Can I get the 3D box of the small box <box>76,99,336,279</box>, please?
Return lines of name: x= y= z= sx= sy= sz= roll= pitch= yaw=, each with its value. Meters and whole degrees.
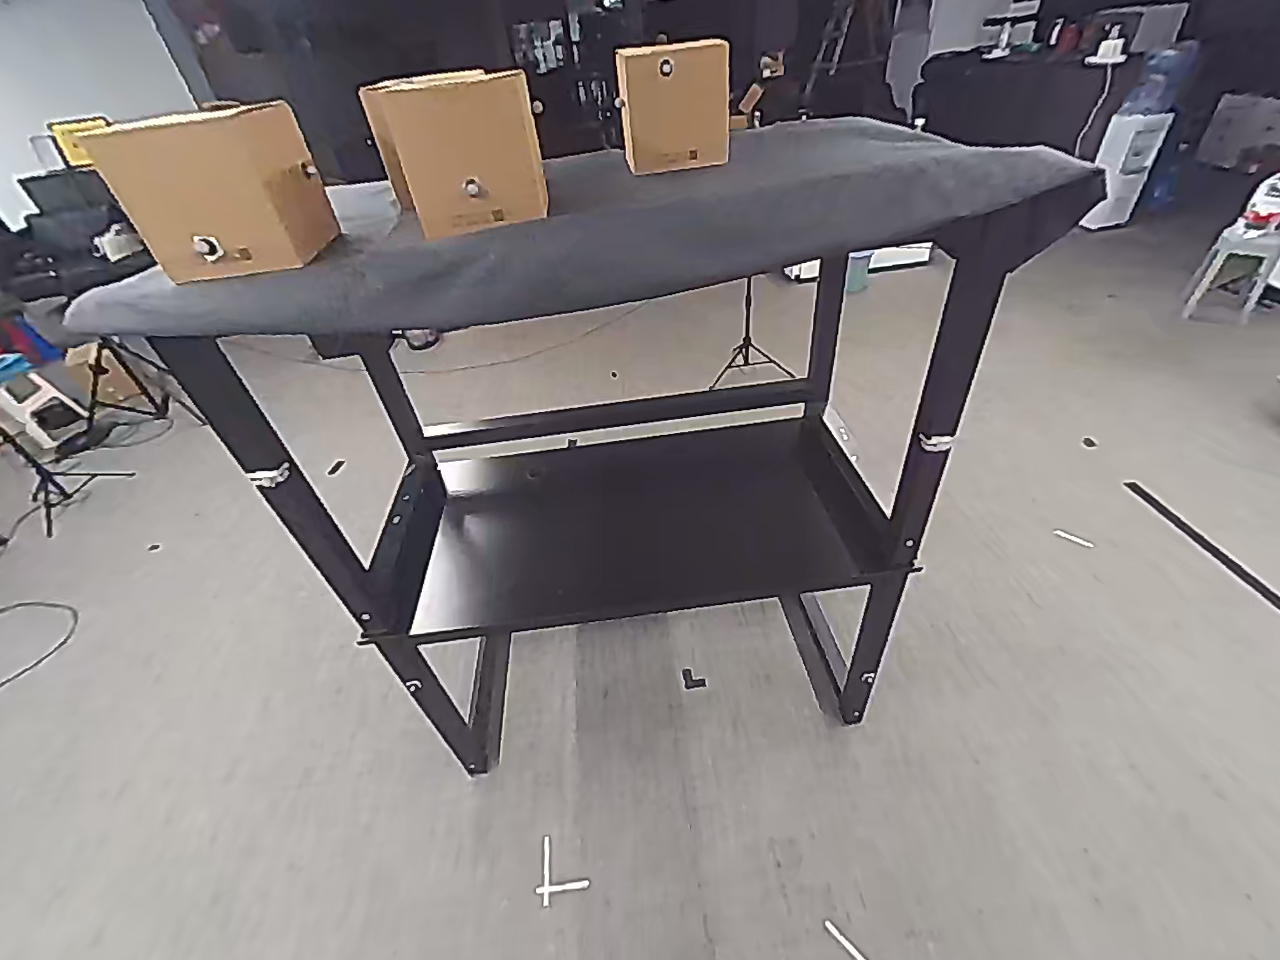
small box: x=-0.521 y=-0.371 z=0.688 sx=0.168 sy=0.176 sz=0.179 roll=-10 pitch=39 yaw=-2

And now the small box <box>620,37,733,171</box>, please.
small box: x=0.060 y=-0.644 z=0.931 sx=0.168 sy=0.176 sz=0.179 roll=-8 pitch=39 yaw=-1
